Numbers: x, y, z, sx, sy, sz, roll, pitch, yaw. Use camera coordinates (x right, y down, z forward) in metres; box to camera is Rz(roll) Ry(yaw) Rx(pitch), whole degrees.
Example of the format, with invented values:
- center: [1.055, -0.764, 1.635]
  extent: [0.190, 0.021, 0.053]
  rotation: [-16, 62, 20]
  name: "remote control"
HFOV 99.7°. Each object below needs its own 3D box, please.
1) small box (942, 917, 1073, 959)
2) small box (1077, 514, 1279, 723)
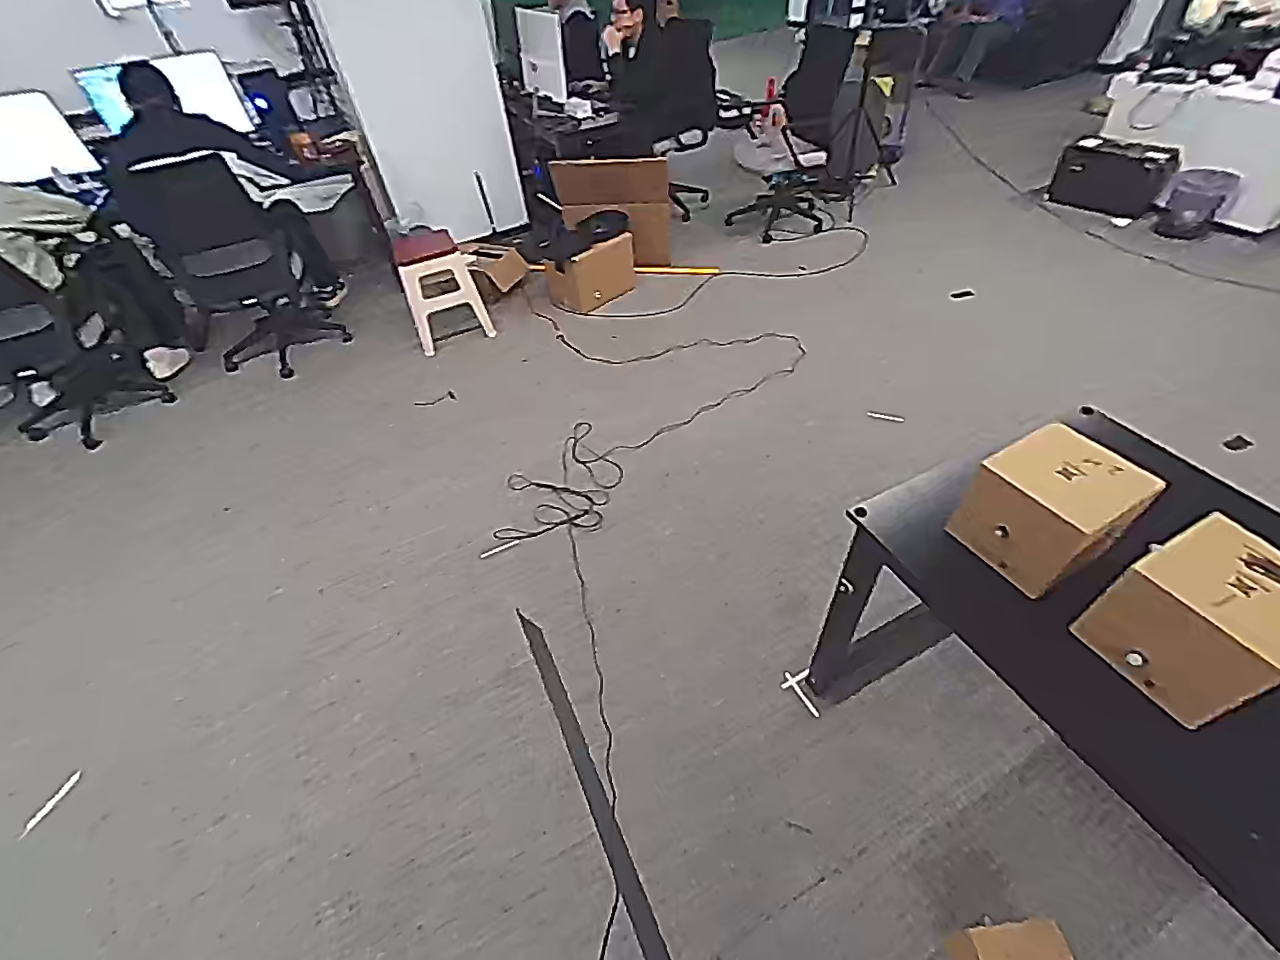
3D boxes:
- center: [0.701, 0.939, 1.004]
  extent: [0.168, 0.176, 0.179]
  rotation: [-7, 45, -1]
  name: "small box"
- center: [0.735, 0.181, 0.708]
  extent: [0.179, 0.176, 0.168]
  rotation: [-23, 48, -14]
  name: "small box"
